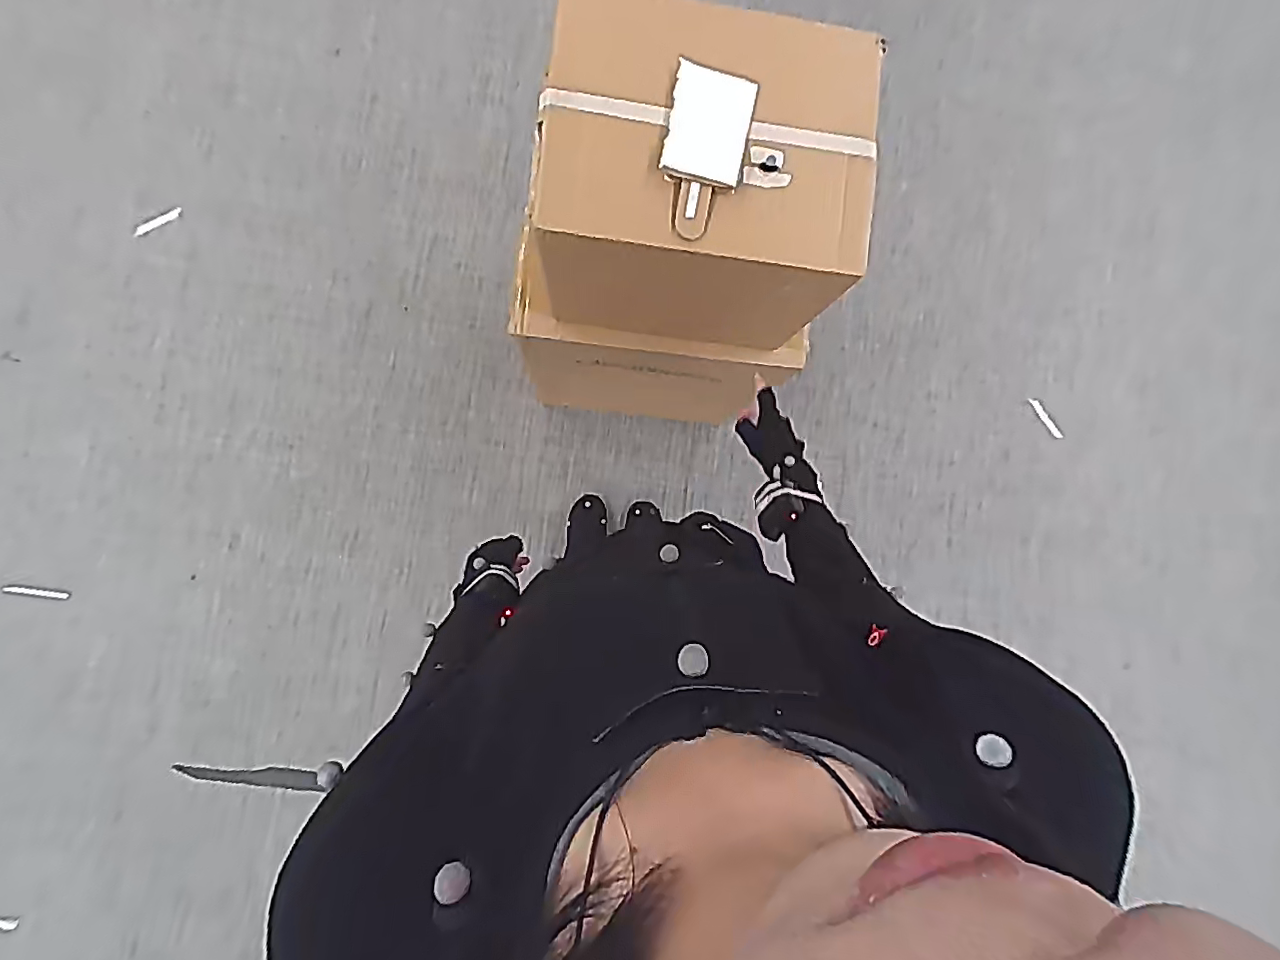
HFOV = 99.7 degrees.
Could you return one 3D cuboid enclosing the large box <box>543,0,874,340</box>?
[{"bbox_3d":[0.076,-0.425,0.812,0.408,0.320,0.320,6,87,-6],"label":"large box"}]
